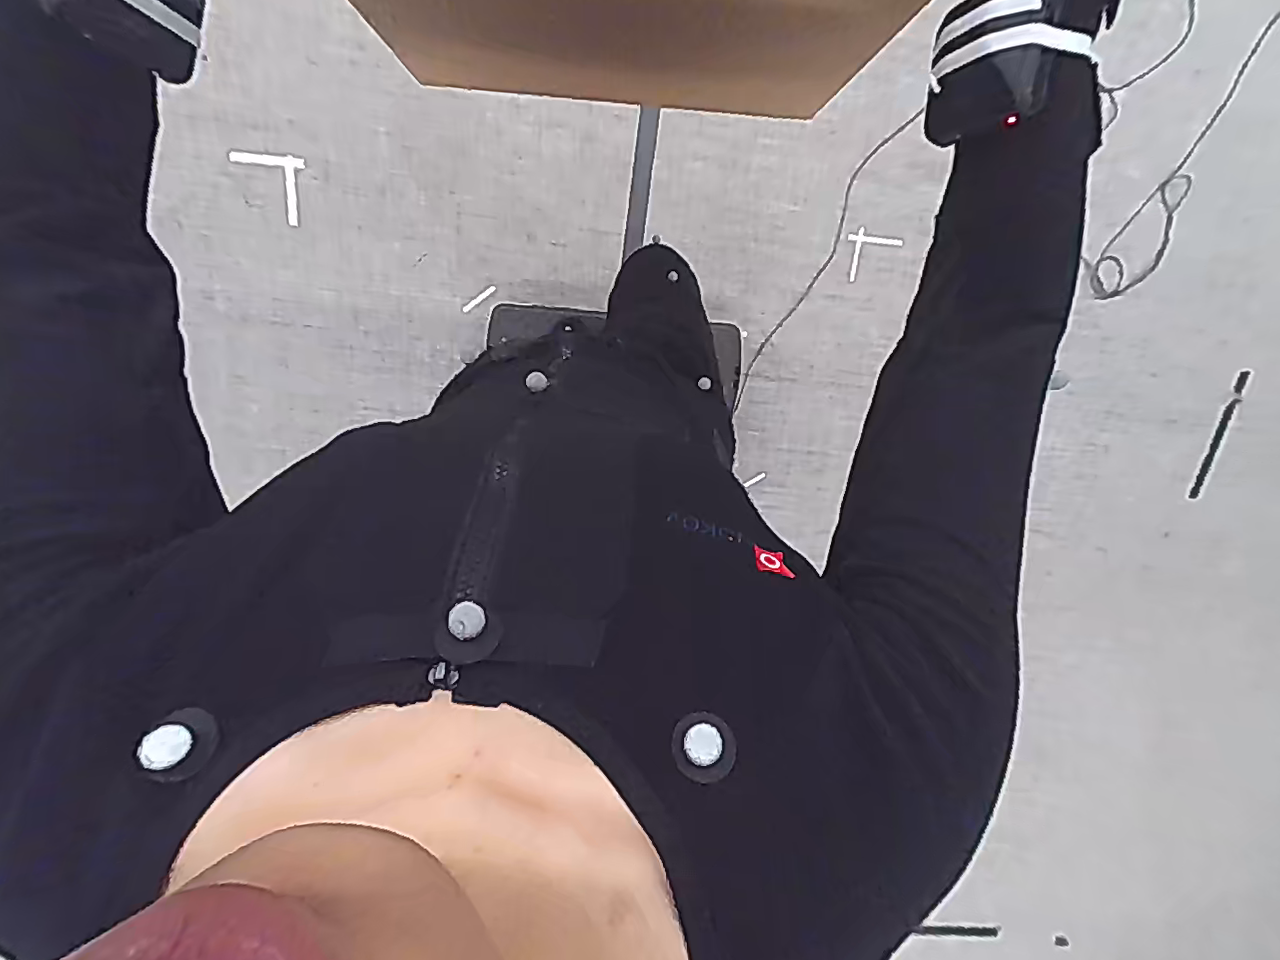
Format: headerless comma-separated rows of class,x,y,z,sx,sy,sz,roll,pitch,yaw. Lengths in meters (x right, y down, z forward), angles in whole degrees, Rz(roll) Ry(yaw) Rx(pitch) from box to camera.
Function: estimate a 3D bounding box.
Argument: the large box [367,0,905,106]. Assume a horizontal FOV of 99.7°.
large box,-0.005,-0.497,0.370,0.408,0.320,0.320,2,108,-4
